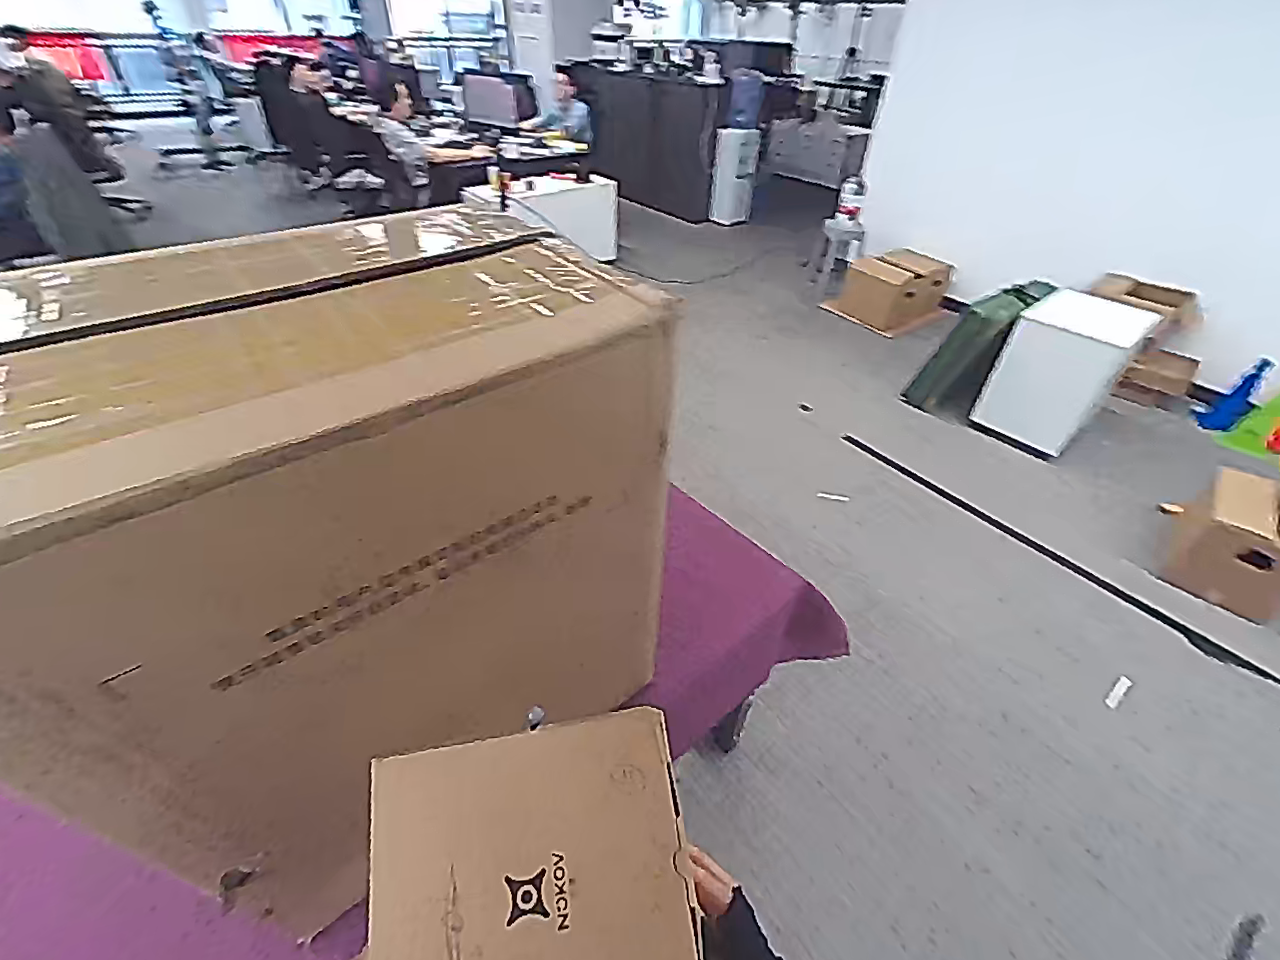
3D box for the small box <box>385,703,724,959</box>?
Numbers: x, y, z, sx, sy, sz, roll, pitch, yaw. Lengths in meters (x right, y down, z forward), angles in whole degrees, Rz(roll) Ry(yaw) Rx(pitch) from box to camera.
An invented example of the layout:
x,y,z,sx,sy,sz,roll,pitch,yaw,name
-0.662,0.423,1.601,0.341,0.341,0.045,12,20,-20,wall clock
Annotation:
x,y,z,sx,sy,sz,roll,pitch,yaw,name
-0.055,0.252,0.368,0.179,0.176,0.168,-7,67,-7,small box
